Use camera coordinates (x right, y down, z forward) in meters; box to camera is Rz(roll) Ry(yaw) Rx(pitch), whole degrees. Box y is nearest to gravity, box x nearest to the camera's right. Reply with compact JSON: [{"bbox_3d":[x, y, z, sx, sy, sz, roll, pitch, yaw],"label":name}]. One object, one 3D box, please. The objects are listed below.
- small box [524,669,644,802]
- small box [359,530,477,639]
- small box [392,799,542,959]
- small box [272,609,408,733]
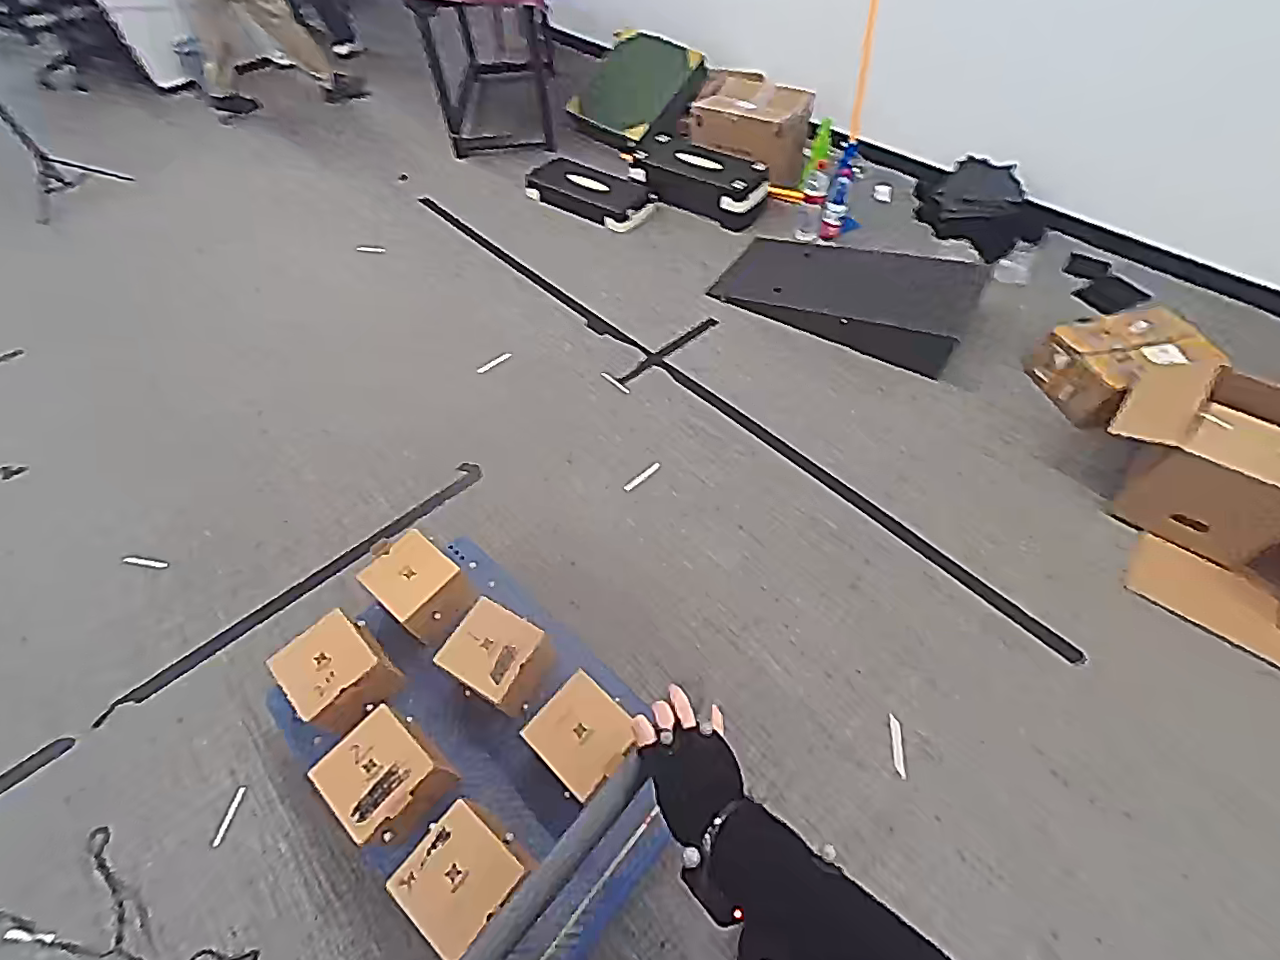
[{"bbox_3d":[-0.104,0.524,1.100,0.179,0.176,0.168,36,63,24],"label":"small box"},{"bbox_3d":[-0.520,0.258,1.294,0.179,0.176,0.168,33,63,22],"label":"small box"},{"bbox_3d":[-0.298,0.712,0.973,0.179,0.176,0.168,33,61,21],"label":"small box"},{"bbox_3d":[-0.647,0.422,1.182,0.179,0.176,0.168,38,64,23],"label":"small box"}]
